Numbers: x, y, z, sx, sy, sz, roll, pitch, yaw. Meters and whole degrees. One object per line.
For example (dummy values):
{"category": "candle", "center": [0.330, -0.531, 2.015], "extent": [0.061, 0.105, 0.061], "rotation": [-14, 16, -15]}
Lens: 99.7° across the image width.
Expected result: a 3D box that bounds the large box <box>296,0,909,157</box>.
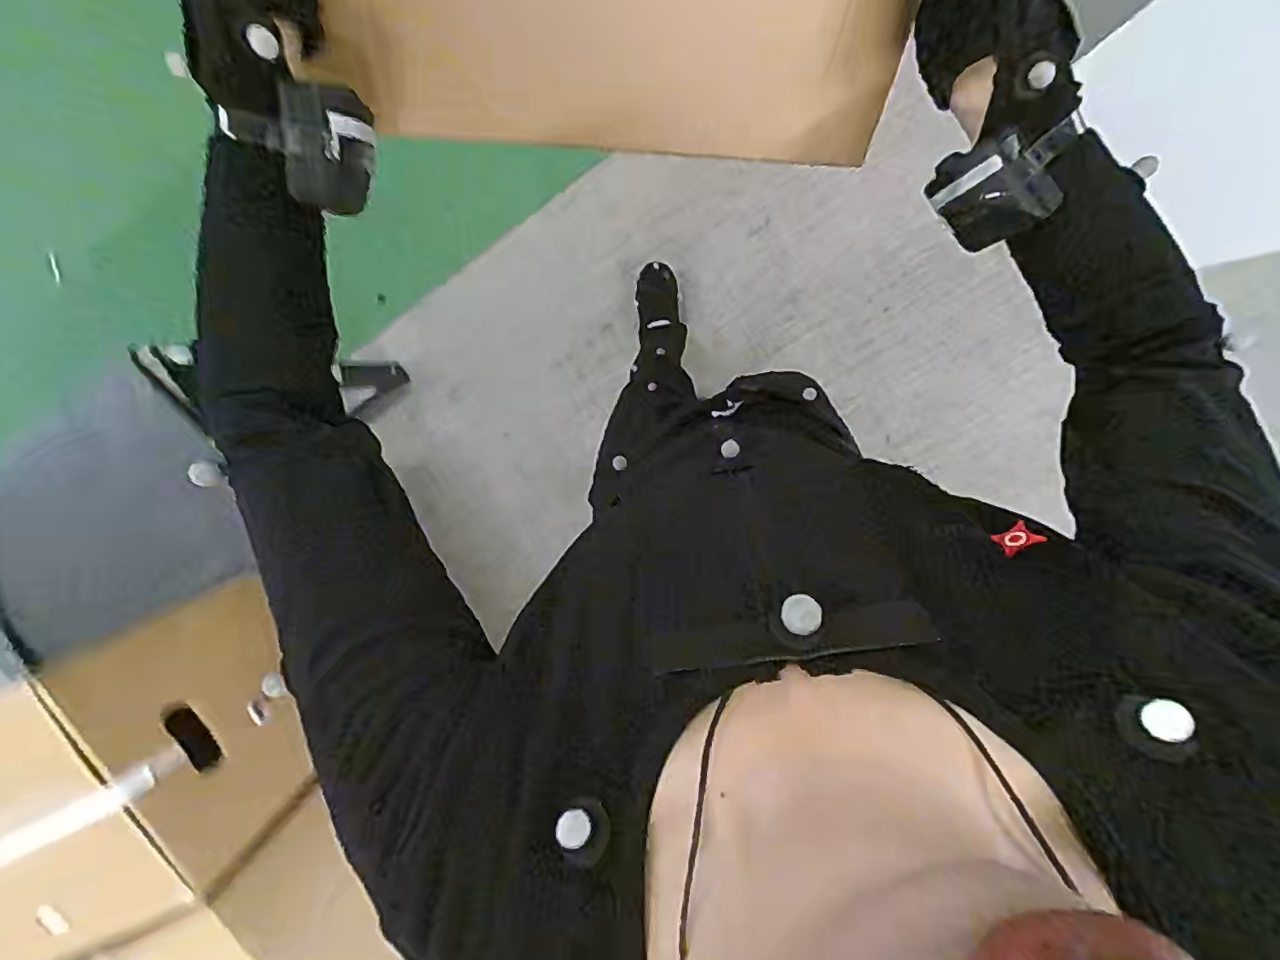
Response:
{"category": "large box", "center": [-0.025, -0.465, 0.403], "extent": [0.408, 0.320, 0.320], "rotation": [-1, 132, -10]}
